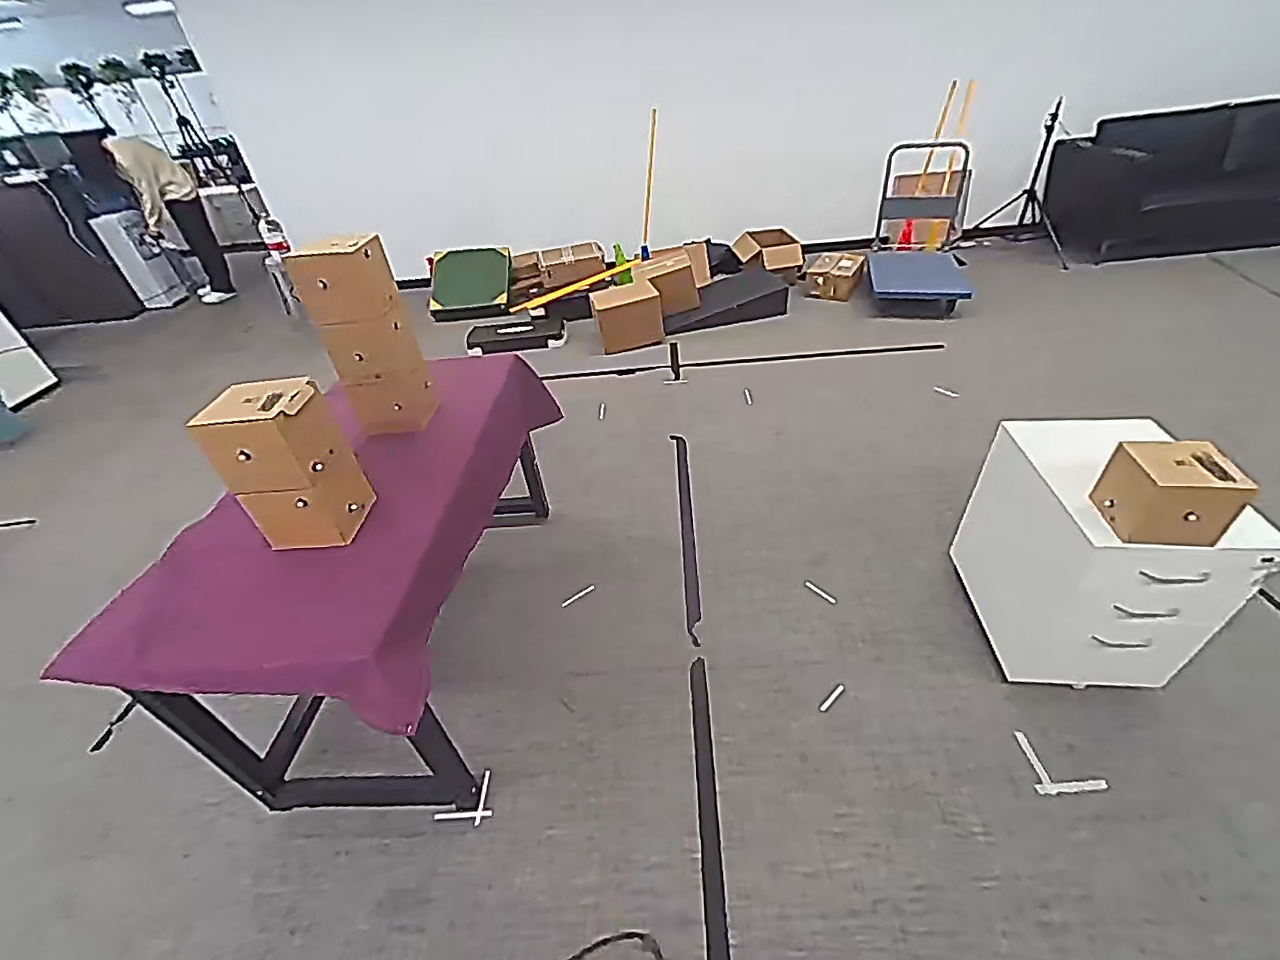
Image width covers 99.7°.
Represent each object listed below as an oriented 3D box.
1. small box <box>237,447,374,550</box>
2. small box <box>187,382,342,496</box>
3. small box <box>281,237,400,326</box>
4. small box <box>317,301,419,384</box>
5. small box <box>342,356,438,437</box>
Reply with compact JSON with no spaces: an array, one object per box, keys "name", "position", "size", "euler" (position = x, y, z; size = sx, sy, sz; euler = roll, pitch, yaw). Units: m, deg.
[{"name":"small box","position":[-0.739,0.044,1.217],"size":[0.179,0.176,0.168],"euler":[-4,38,2]},{"name":"small box","position":[-0.755,-0.084,1.114],"size":[0.179,0.176,0.168],"euler":[-5,38,2]},{"name":"small box","position":[-0.744,-0.498,1.364],"size":[0.179,0.176,0.168],"euler":[-4,38,3]},{"name":"small box","position":[-0.723,-0.367,1.462],"size":[0.168,0.176,0.179],"euler":[-4,38,2]},{"name":"small box","position":[-0.711,-0.240,1.565],"size":[0.179,0.176,0.168],"euler":[-4,38,4]}]
